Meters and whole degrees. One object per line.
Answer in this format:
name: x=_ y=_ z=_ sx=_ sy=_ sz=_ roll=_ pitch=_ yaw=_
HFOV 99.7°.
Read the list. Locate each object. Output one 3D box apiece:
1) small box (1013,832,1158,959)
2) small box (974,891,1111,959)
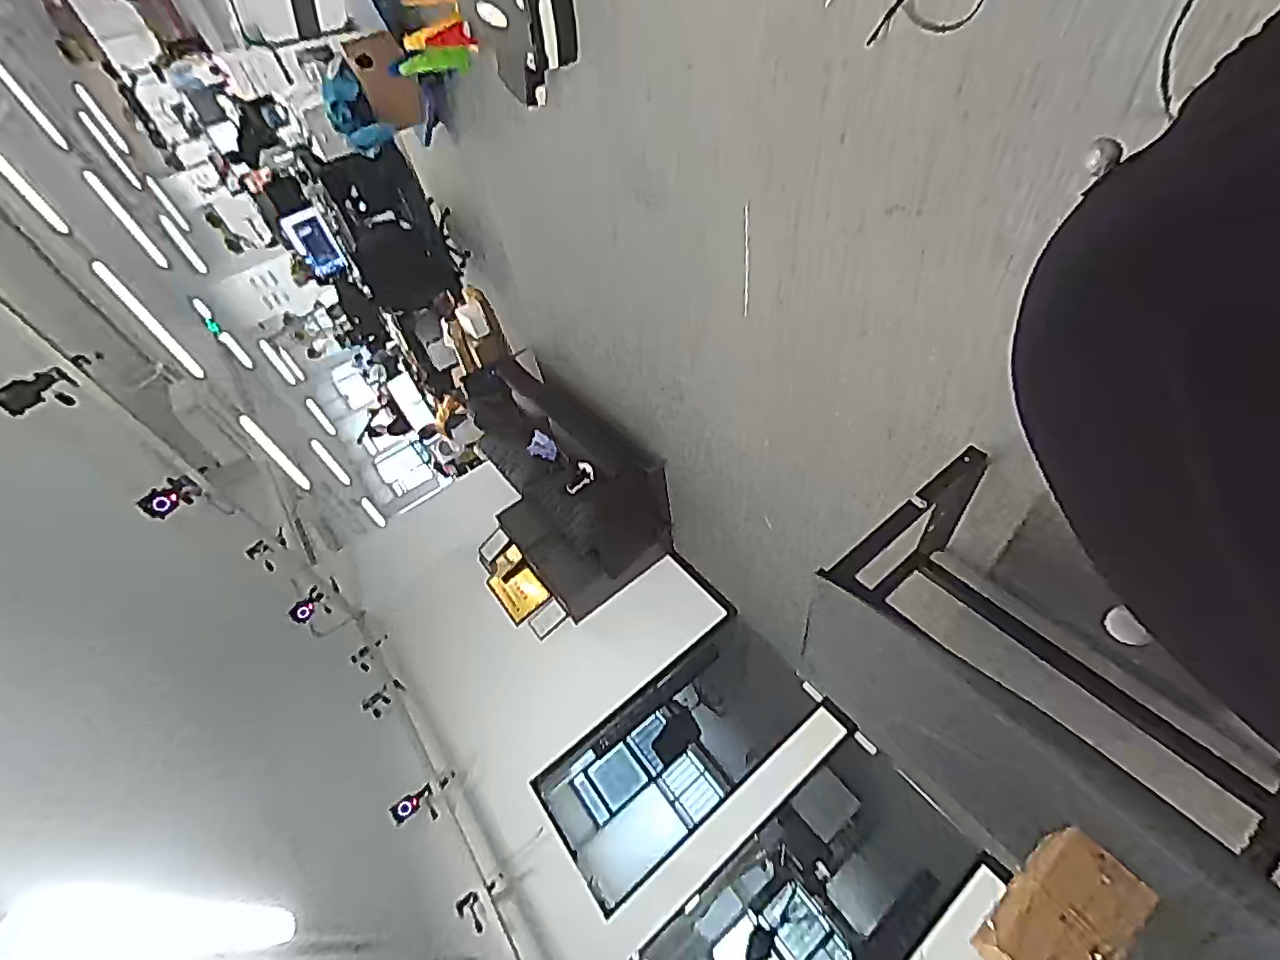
small box: x=0.996 y=0.933 z=1.213 sx=0.168 sy=0.176 sz=0.179 roll=41 pitch=157 yaw=35
small box: x=0.870 y=1.025 z=1.161 sx=0.168 sy=0.176 sz=0.179 roll=43 pitch=158 yaw=34
